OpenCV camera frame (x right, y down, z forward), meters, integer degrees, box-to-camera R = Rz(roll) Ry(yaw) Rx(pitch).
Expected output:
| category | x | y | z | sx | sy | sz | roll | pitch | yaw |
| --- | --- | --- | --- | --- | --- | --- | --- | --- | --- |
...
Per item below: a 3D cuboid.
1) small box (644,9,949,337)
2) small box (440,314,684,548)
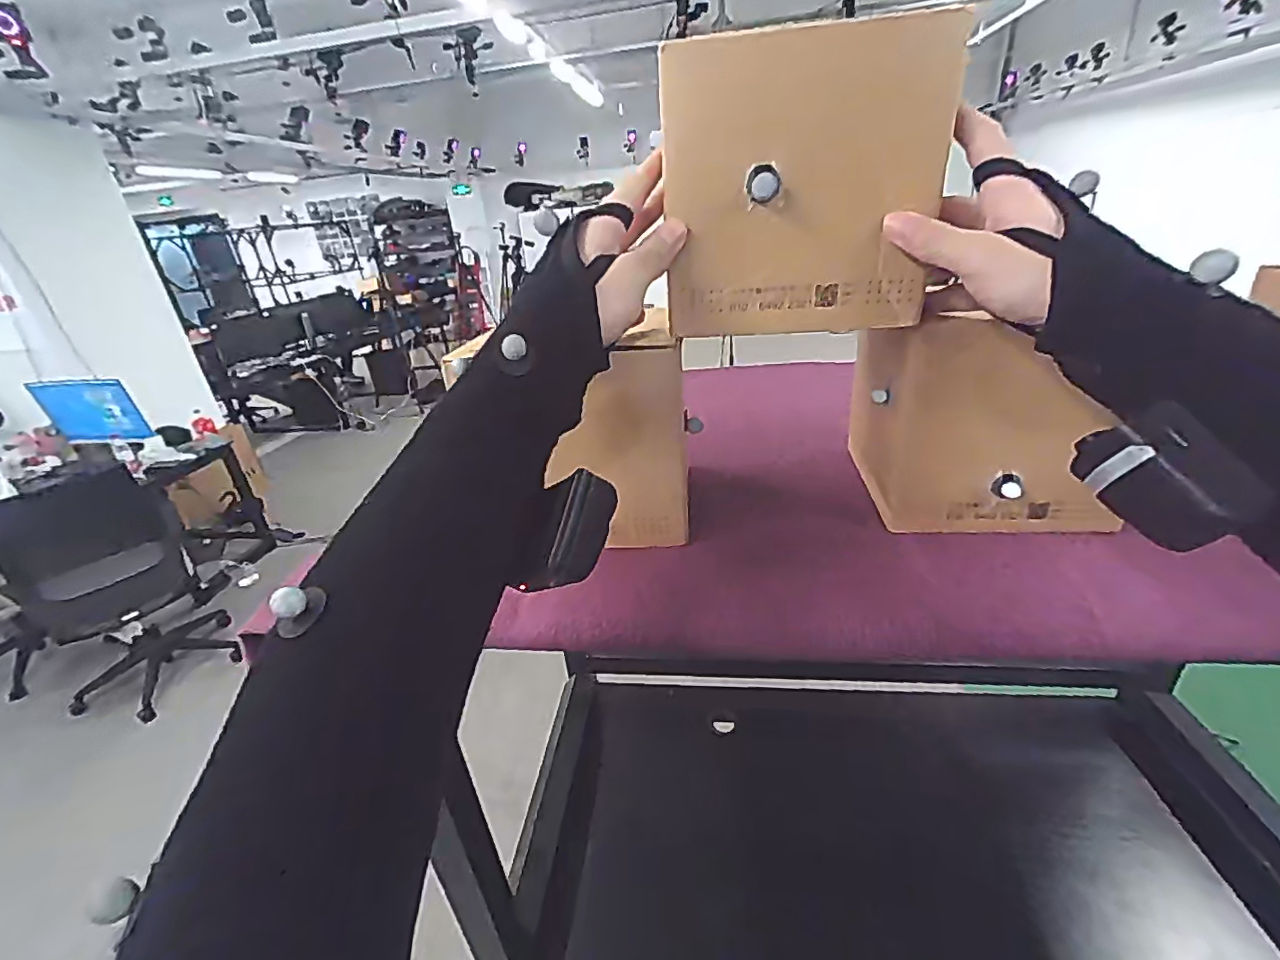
| category | x | y | z | sx | sy | sz | roll | pitch | yaw |
| --- | --- | --- | --- | --- | --- | --- | --- | --- | --- |
| small box | 0.102 | -0.207 | 0.401 | 0.168 | 0.176 | 0.179 | -1 | 28 | 9 |
| small box | -0.049 | -0.048 | 0.492 | 0.179 | 0.176 | 0.168 | -2 | 25 | 6 |
